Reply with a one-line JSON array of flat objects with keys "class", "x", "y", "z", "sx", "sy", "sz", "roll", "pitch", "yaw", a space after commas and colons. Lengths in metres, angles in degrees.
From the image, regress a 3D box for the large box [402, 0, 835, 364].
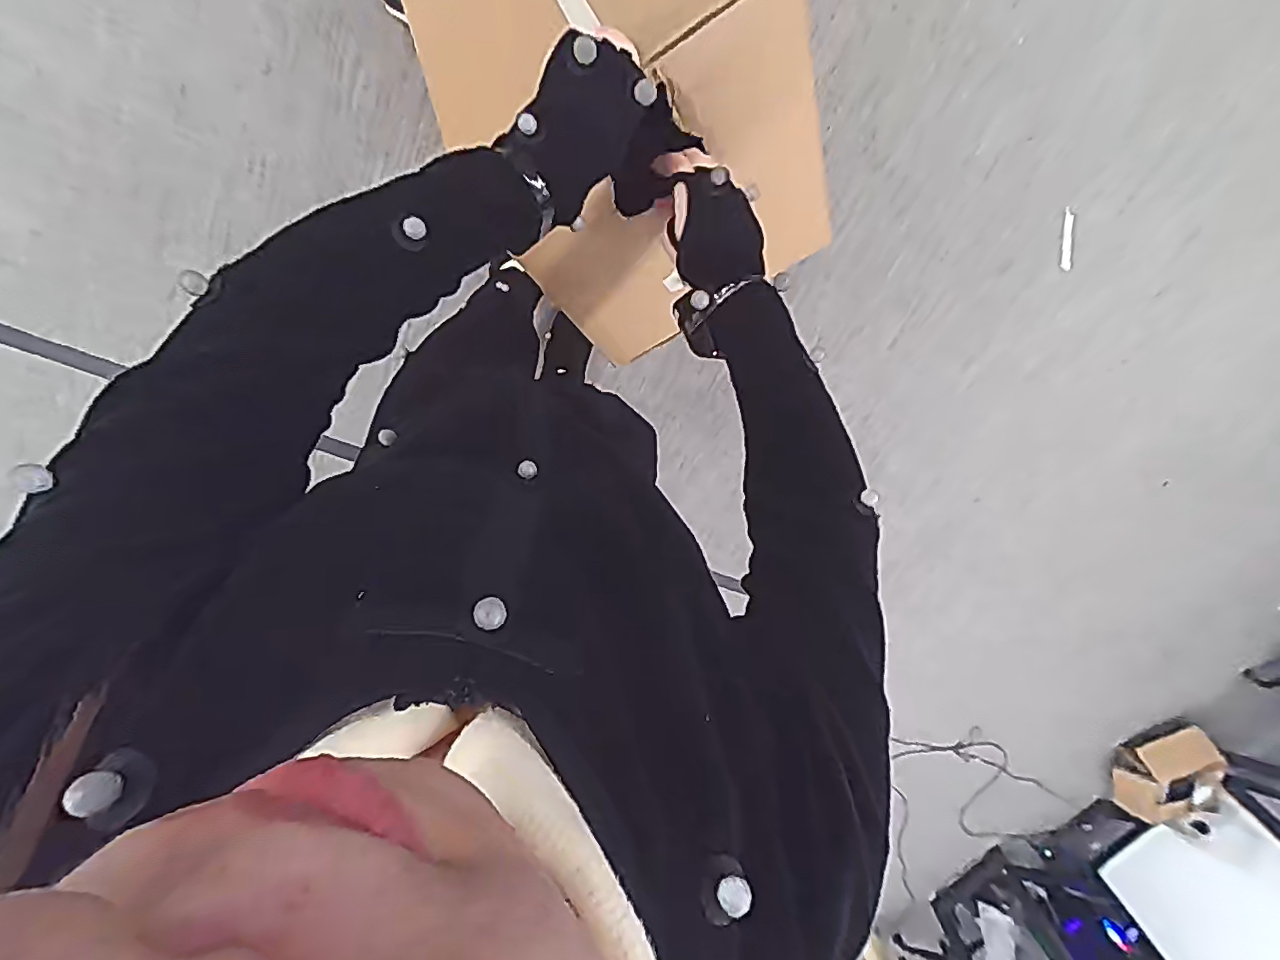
[{"class": "large box", "x": -0.019, "y": -0.422, "z": 0.632, "sx": 0.320, "sy": 0.408, "sz": 0.320, "roll": -28, "pitch": 154, "yaw": 13}]
